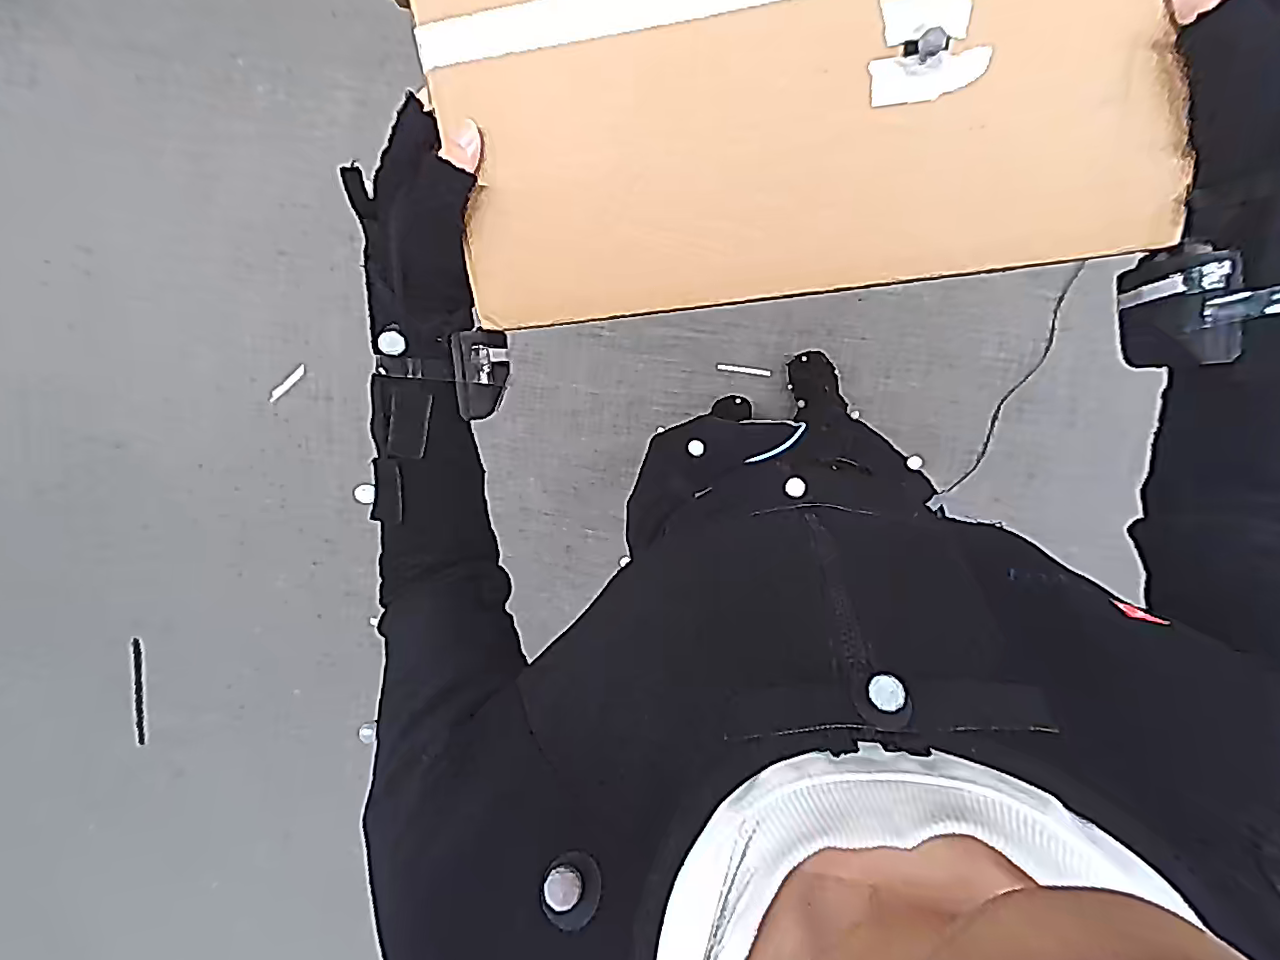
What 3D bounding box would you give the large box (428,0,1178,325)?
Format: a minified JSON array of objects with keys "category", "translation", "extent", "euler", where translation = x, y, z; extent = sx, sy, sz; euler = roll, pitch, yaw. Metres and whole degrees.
[{"category":"large box","translation":[0.089,-0.316,0.435],"extent":[0.408,0.320,0.320],"euler":[-6,108,7]}]
